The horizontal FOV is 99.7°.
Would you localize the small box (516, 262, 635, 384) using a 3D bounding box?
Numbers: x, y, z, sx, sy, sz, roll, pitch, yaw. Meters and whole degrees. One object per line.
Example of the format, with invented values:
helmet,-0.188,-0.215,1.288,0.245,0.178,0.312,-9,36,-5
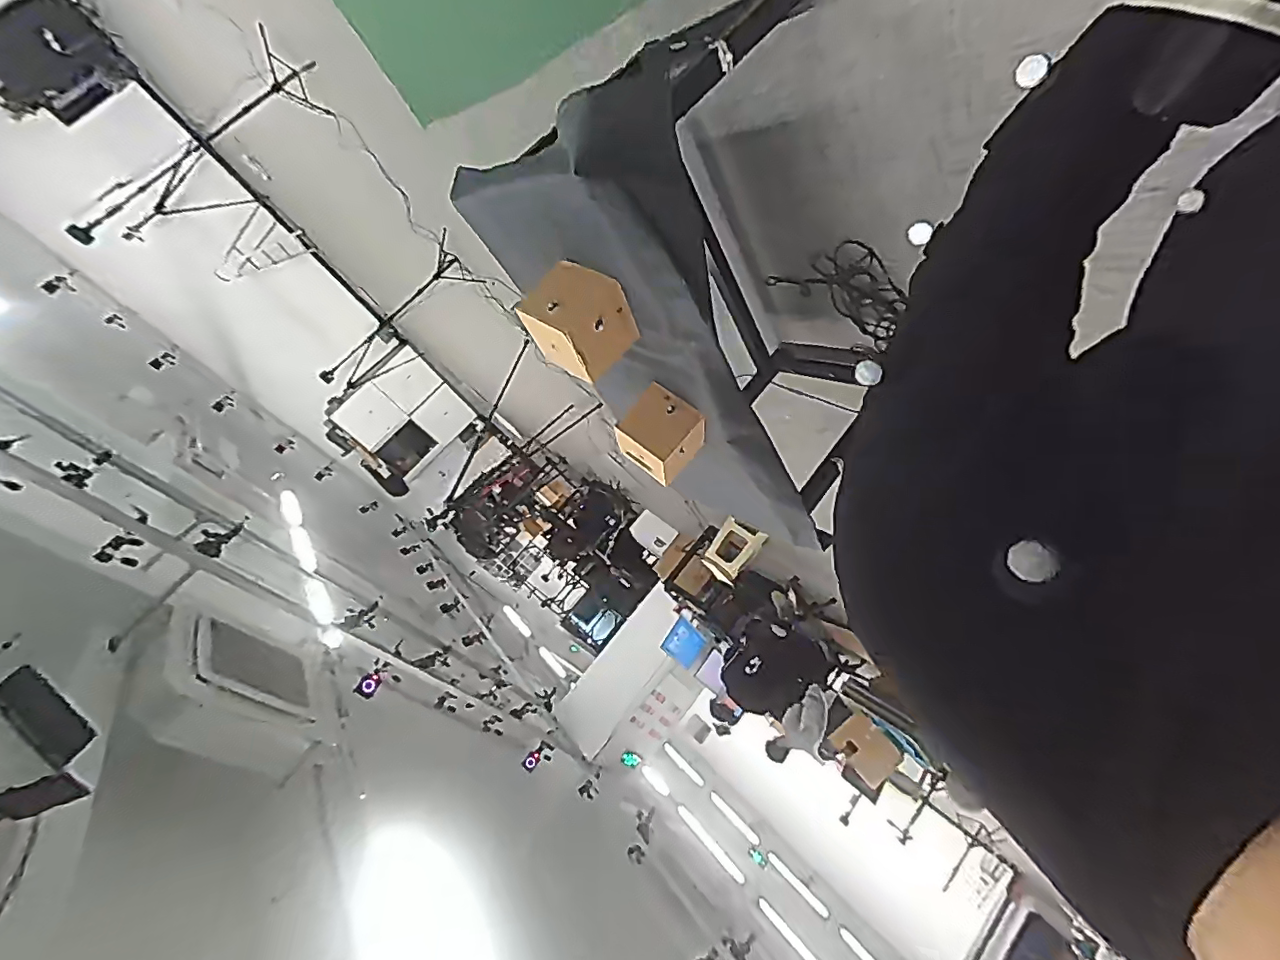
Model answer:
small box,-0.131,-0.350,1.196,0.179,0.176,0.168,35,165,31
